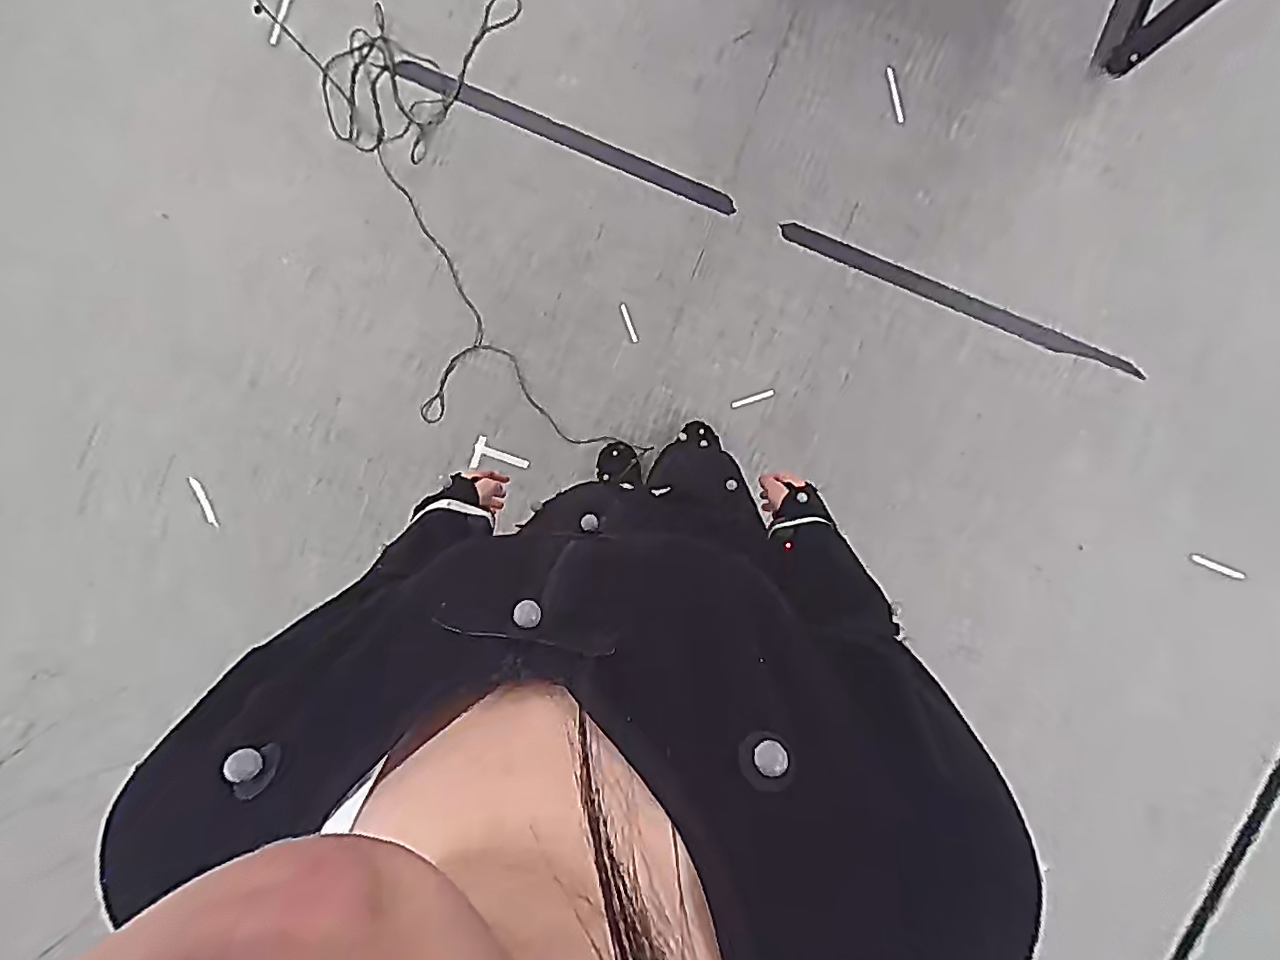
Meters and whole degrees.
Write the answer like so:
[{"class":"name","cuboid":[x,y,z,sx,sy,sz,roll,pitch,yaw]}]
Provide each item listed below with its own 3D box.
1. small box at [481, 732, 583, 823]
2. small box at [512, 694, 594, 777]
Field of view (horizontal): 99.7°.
[{"class":"small box","cuboid":[-0.211,0.610,1.014,0.168,0.176,0.179,17,96,1]},{"class":"small box","cuboid":[-0.205,0.604,1.176,0.168,0.176,0.179,19,94,0]}]
